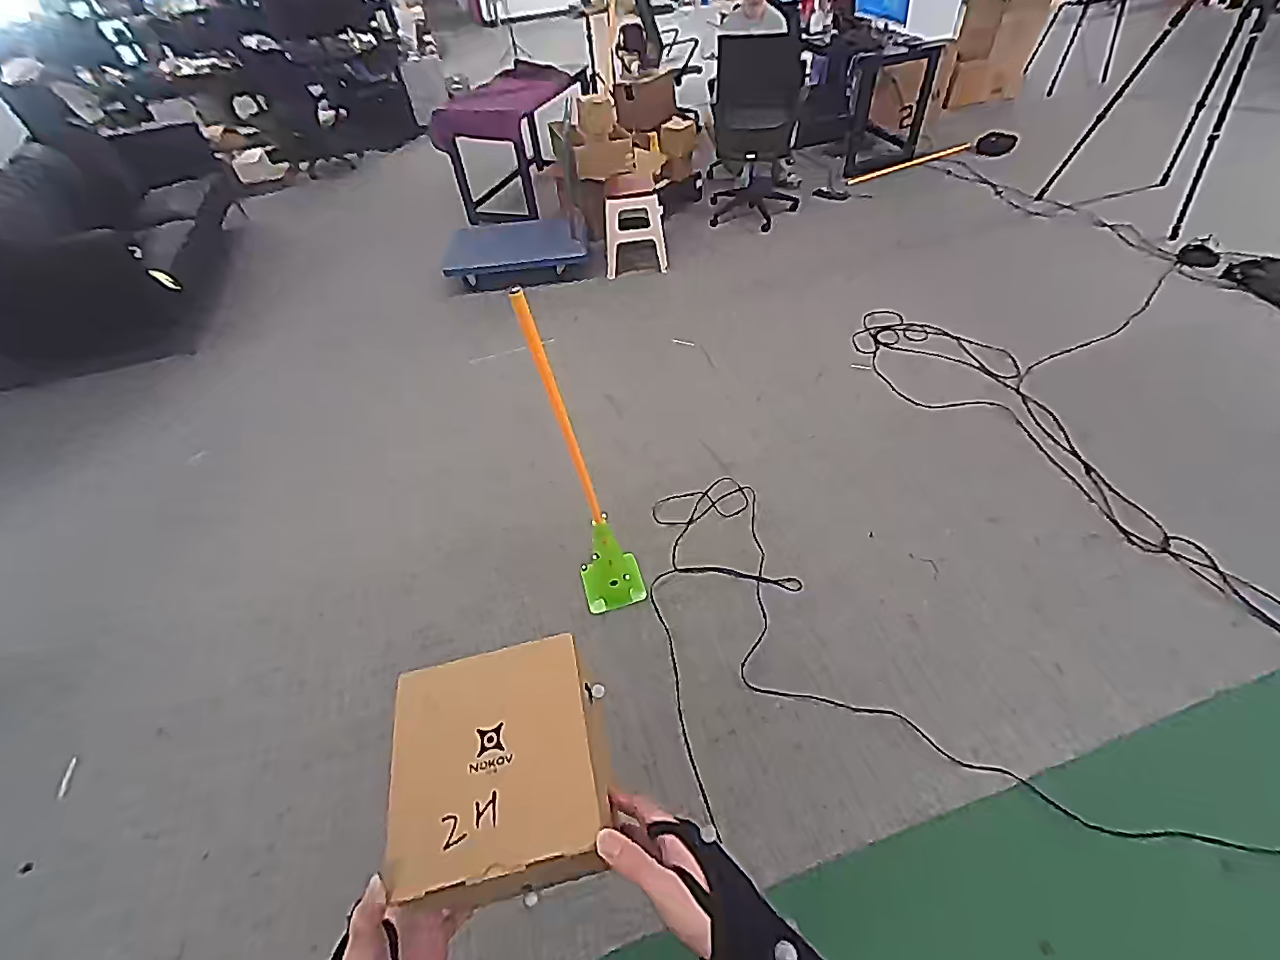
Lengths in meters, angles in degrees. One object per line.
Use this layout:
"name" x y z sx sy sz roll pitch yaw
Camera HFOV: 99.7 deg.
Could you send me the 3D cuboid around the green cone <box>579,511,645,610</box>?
"green cone" -0.110 0.229 1.738 0.202 0.368 0.200 -15 49 -9
